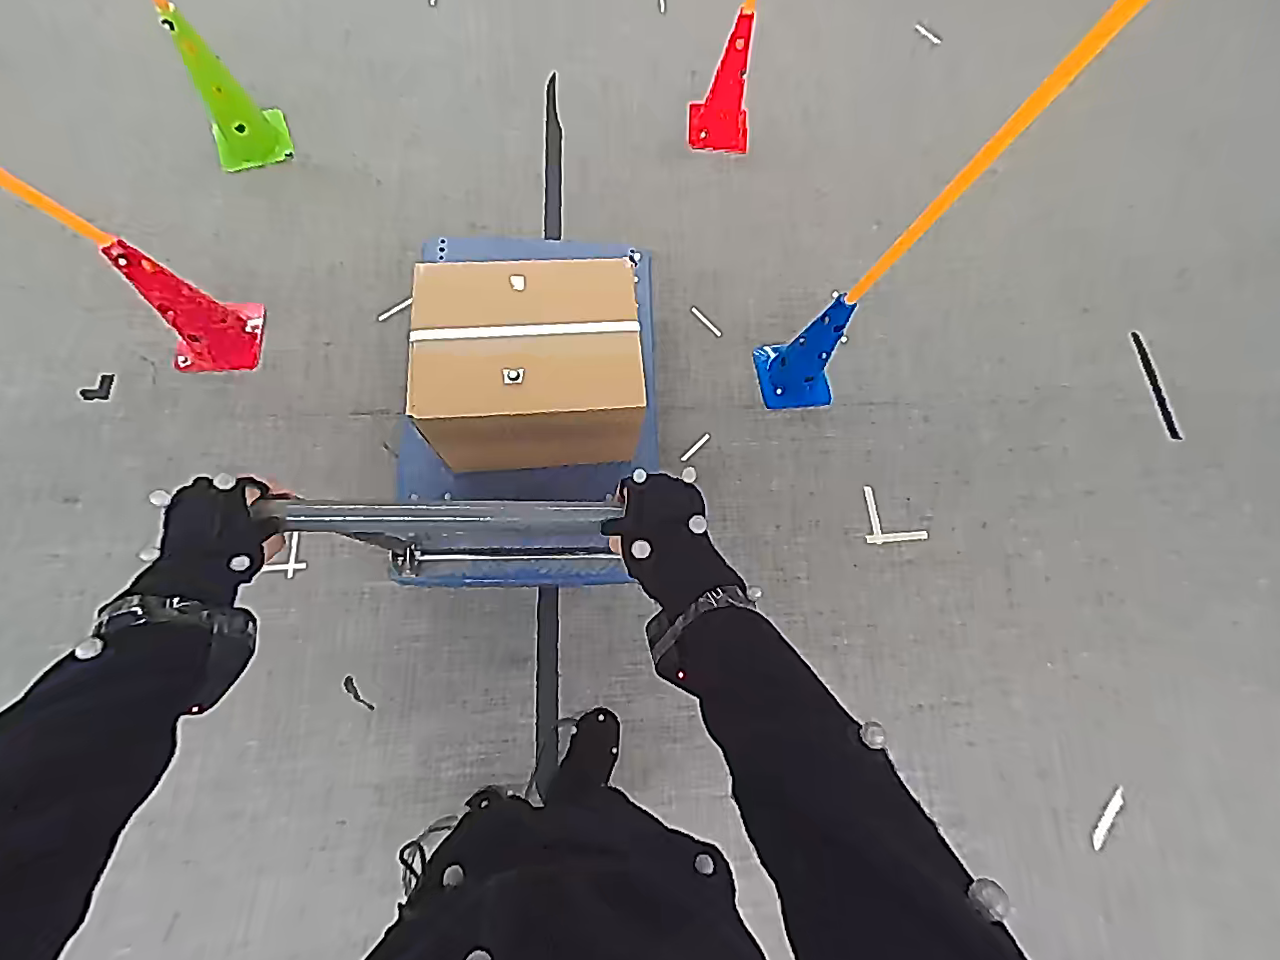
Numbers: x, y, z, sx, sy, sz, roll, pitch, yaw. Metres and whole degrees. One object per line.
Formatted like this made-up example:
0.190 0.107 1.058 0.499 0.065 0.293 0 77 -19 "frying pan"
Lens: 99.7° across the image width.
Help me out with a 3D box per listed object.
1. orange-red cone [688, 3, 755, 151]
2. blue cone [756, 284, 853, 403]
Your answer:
0.279 -1.224 1.625 0.199 0.360 0.198 5 73 -5 "orange-red cone"
0.451 -0.361 1.390 0.193 0.380 0.192 -5 72 -7 "blue cone"
